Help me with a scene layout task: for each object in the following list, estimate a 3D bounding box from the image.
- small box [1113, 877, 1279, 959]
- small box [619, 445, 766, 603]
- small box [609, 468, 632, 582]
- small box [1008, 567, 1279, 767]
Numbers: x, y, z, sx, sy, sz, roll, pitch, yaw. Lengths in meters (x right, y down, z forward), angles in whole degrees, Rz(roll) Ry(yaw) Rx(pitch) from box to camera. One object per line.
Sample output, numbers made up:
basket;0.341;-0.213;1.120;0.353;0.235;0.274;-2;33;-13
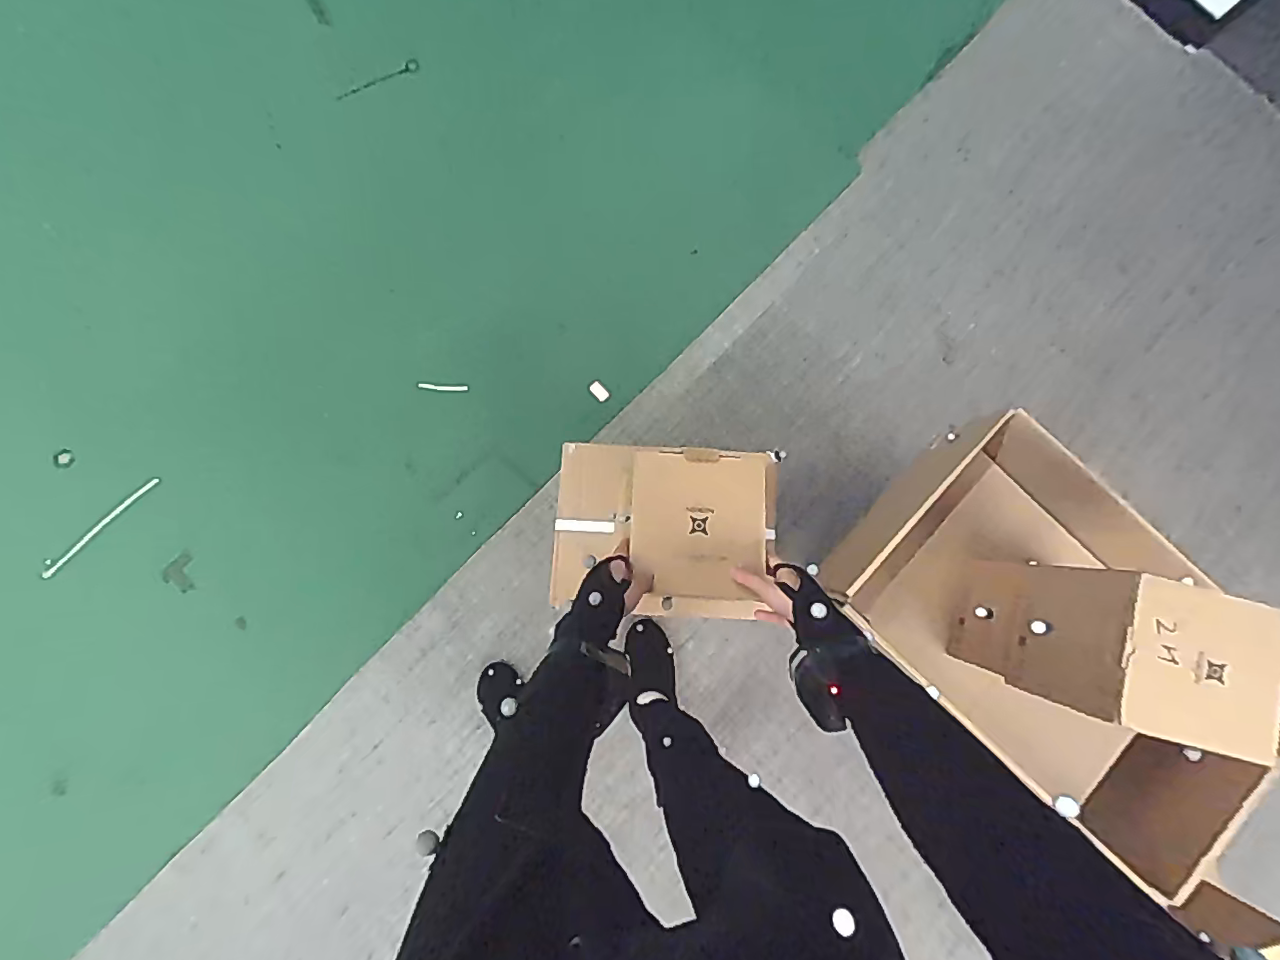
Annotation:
small box;0.927;0.783;0.866;0.179;0.176;0.168;-11;85;-4
small box;0.062;0.067;0.717;0.168;0.176;0.179;4;76;-4
small box;0.039;0.084;0.898;0.168;0.176;0.179;7;84;-1
small box;0.587;0.203;0.638;0.179;0.176;0.168;15;83;0
